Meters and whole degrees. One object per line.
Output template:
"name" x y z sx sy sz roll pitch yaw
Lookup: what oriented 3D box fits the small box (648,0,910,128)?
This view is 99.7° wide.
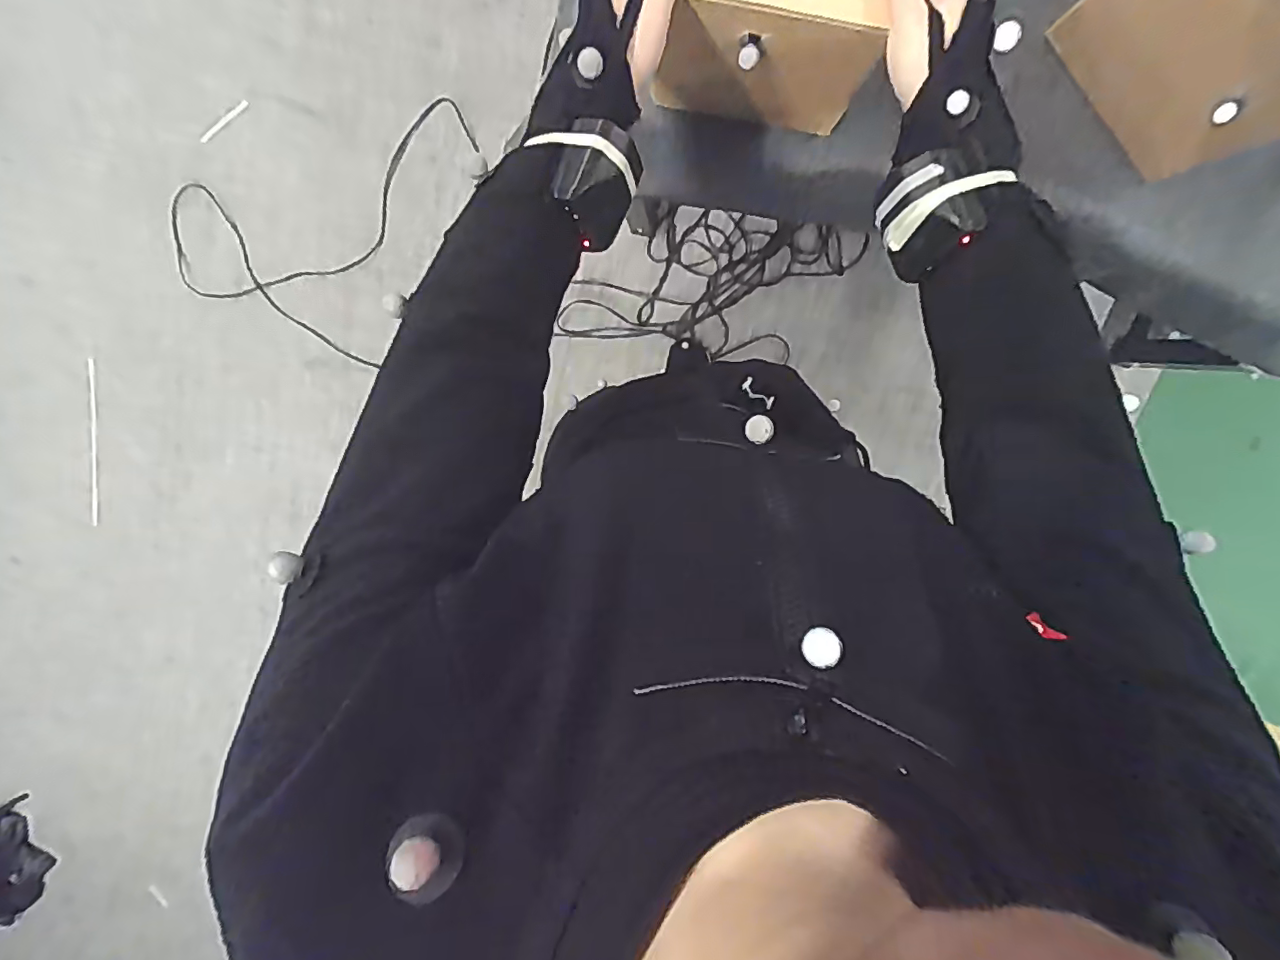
"small box" 0.109 -0.406 0.421 0.179 0.176 0.168 11 102 2
